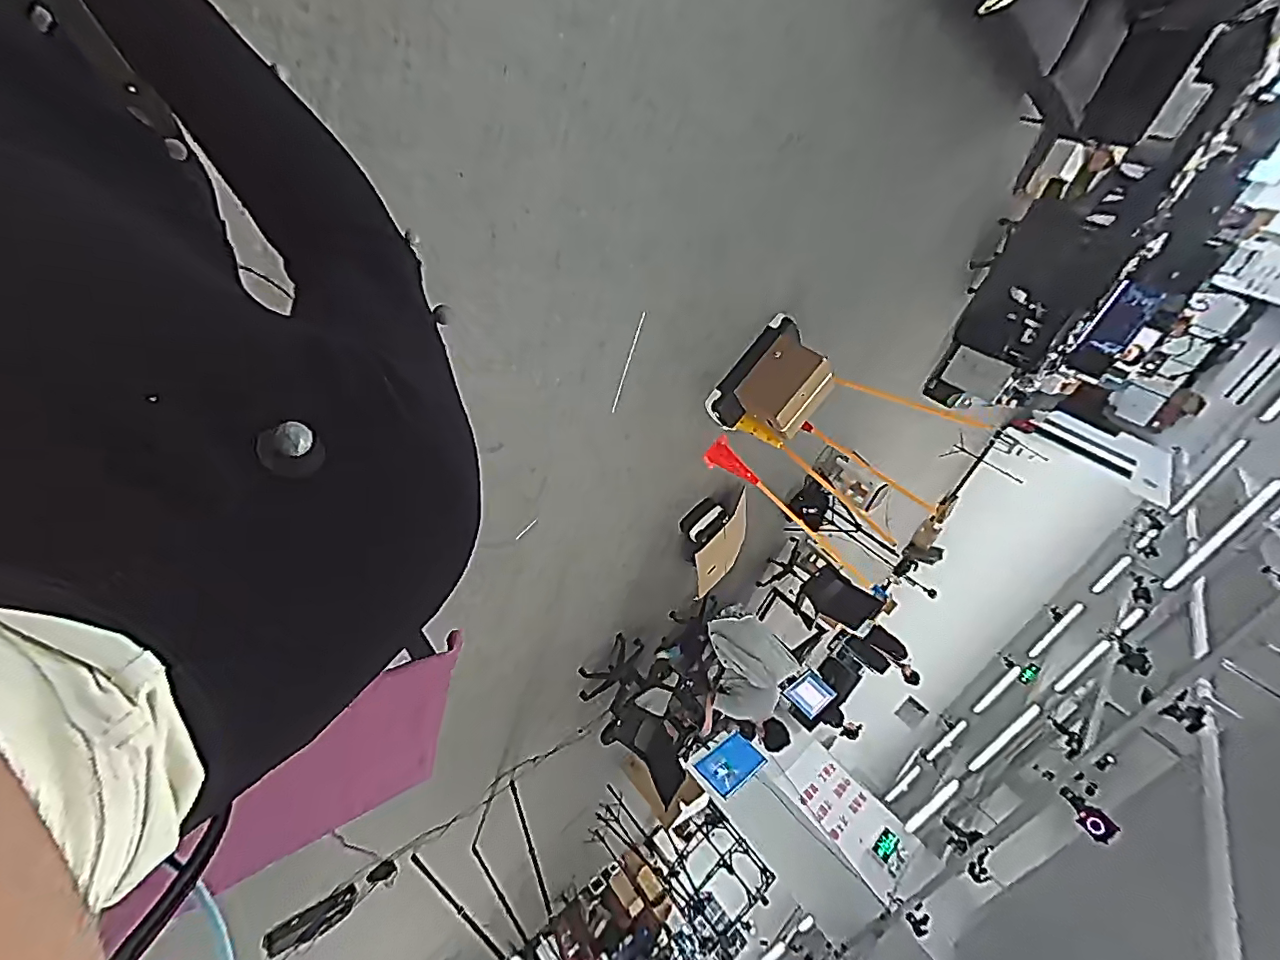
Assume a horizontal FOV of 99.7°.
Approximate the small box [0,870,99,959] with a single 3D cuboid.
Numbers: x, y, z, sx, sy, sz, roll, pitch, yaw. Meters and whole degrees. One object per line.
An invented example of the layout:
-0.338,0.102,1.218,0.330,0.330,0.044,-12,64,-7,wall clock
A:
-1.154,0.897,1.026,0.168,0.176,0.179,-10,131,-47,small box
